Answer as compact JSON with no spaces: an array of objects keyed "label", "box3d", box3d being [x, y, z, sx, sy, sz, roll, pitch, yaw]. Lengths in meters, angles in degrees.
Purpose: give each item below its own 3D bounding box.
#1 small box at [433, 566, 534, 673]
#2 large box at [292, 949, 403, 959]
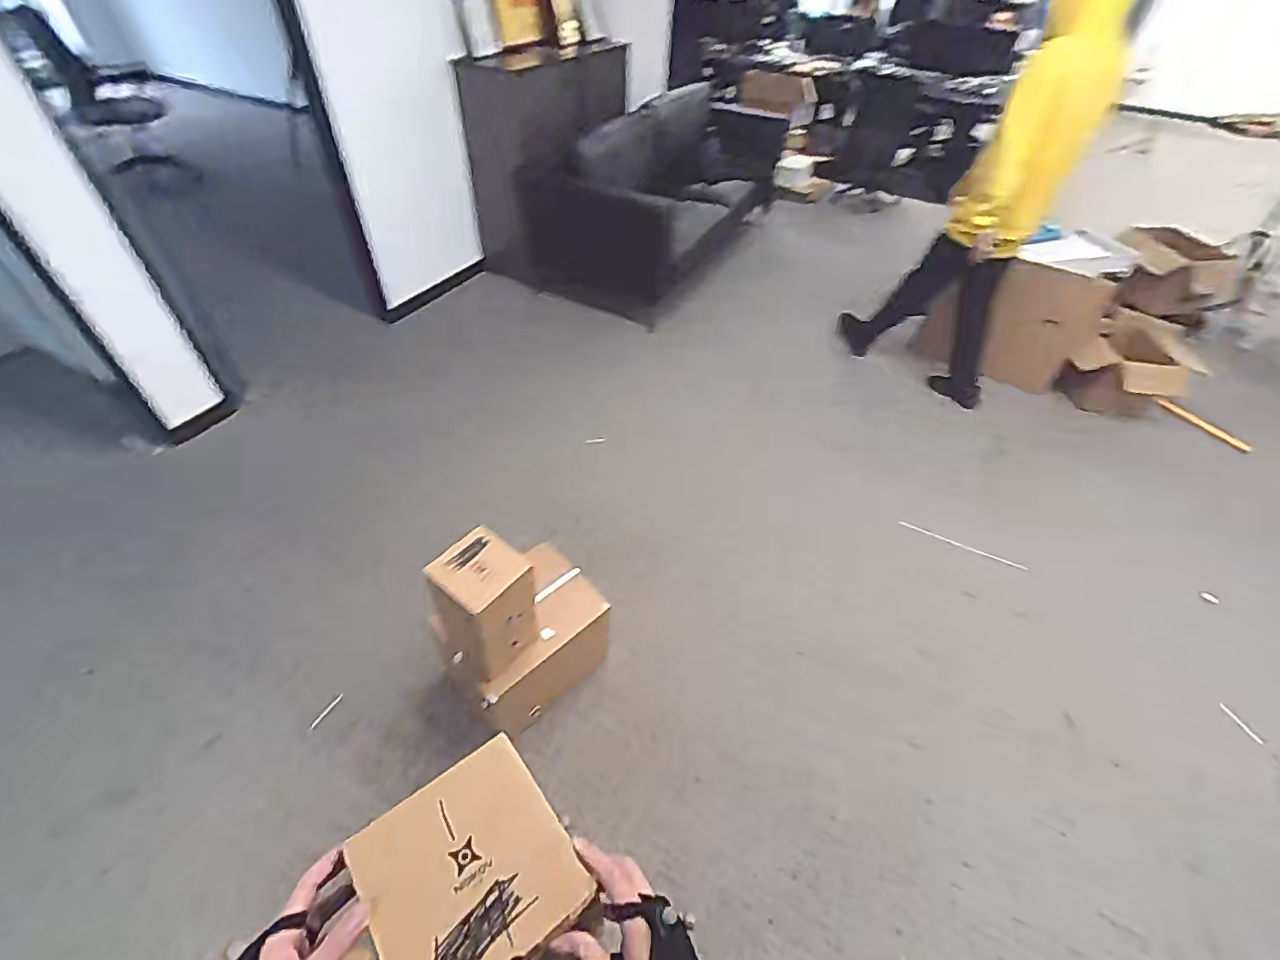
[{"label":"small box","box3d":[-0.383,0.357,1.357,0.179,0.176,0.168,32,51,22]},{"label":"large box","box3d":[-0.638,1.109,0.944,0.320,0.320,0.408,-2,47,-5]}]
